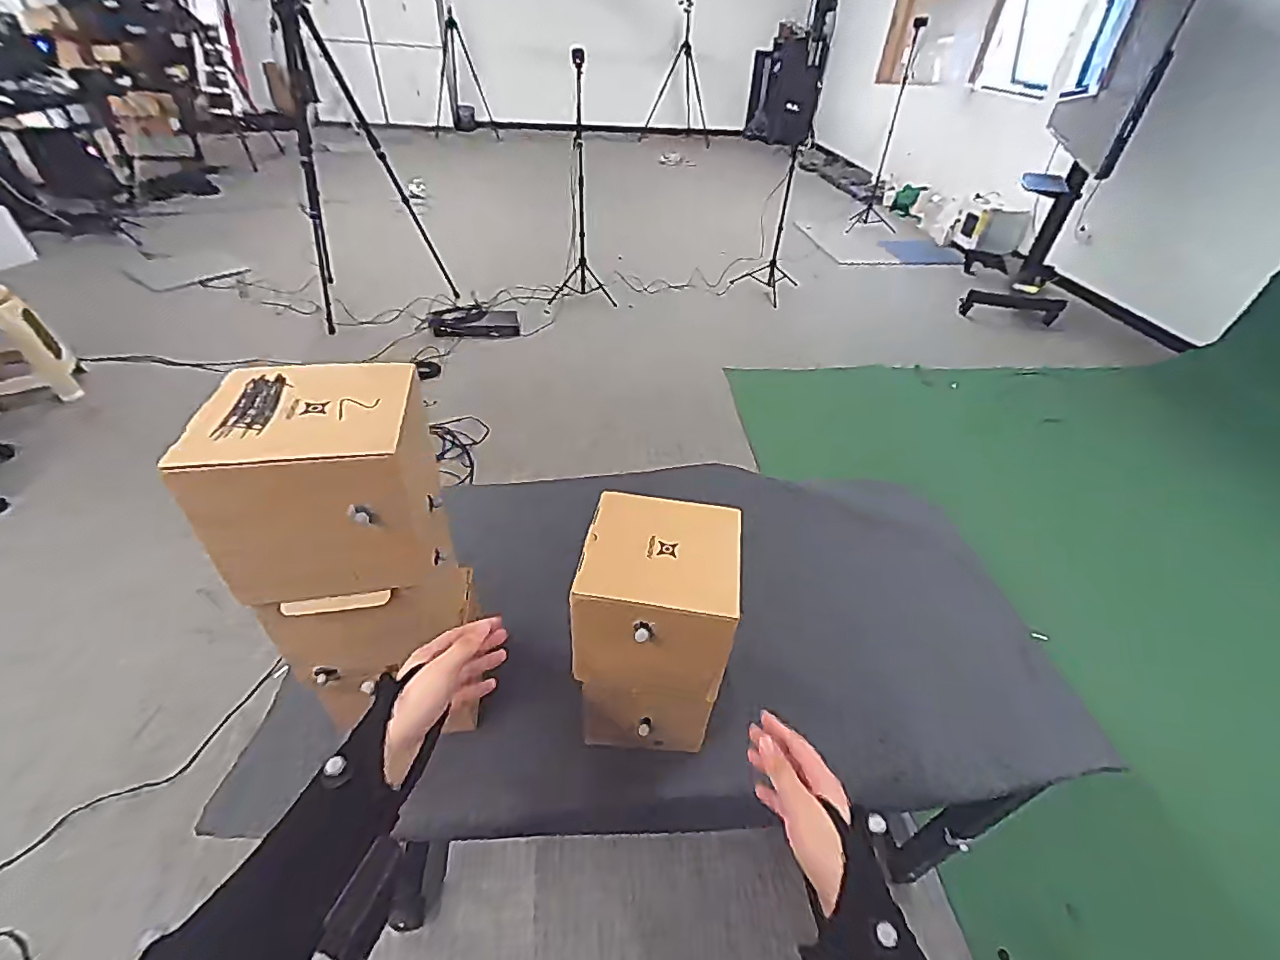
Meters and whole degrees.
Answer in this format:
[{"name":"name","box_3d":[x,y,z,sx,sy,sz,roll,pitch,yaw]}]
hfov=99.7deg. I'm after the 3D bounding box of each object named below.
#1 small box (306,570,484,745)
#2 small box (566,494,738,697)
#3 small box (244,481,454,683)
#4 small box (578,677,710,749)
[{"name":"small box","box_3d":[-0.324,0.249,0.762,0.179,0.176,0.168,-4,40,-7]},{"name":"small box","box_3d":[0.020,0.141,0.655,0.179,0.176,0.168,6,40,6]},{"name":"small box","box_3d":[-0.327,0.125,0.653,0.168,0.176,0.179,-5,39,-10]},{"name":"small box","box_3d":[0.009,0.259,0.767,0.168,0.176,0.179,3,41,1]}]
